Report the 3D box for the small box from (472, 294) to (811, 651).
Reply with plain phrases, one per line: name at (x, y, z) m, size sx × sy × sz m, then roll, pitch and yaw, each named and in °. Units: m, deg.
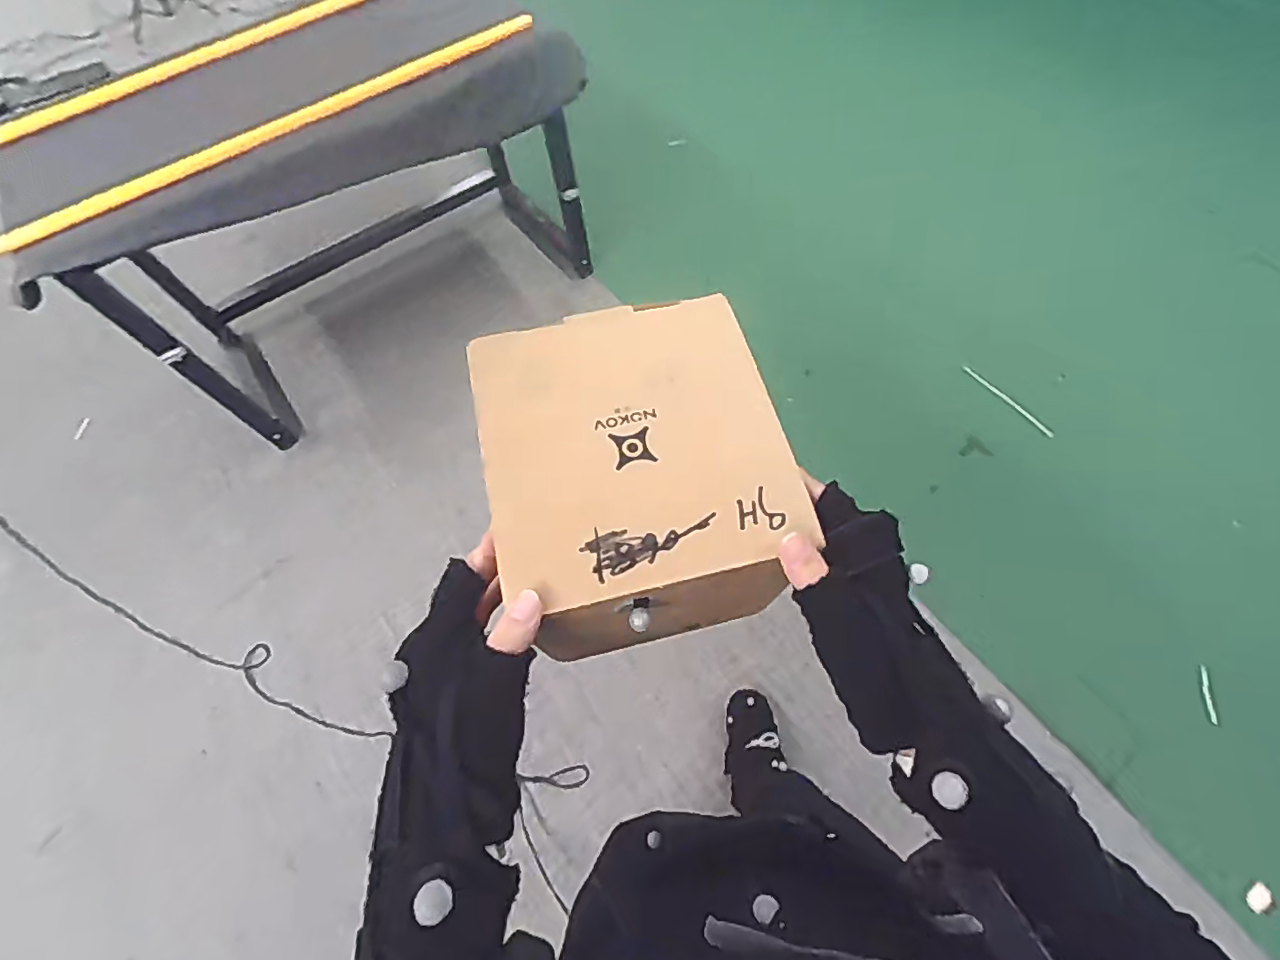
small box at (-0.008, 0.005, 0.383) m, size 0.168 × 0.176 × 0.179 m, roll -13°, pitch 65°, yaw -5°
